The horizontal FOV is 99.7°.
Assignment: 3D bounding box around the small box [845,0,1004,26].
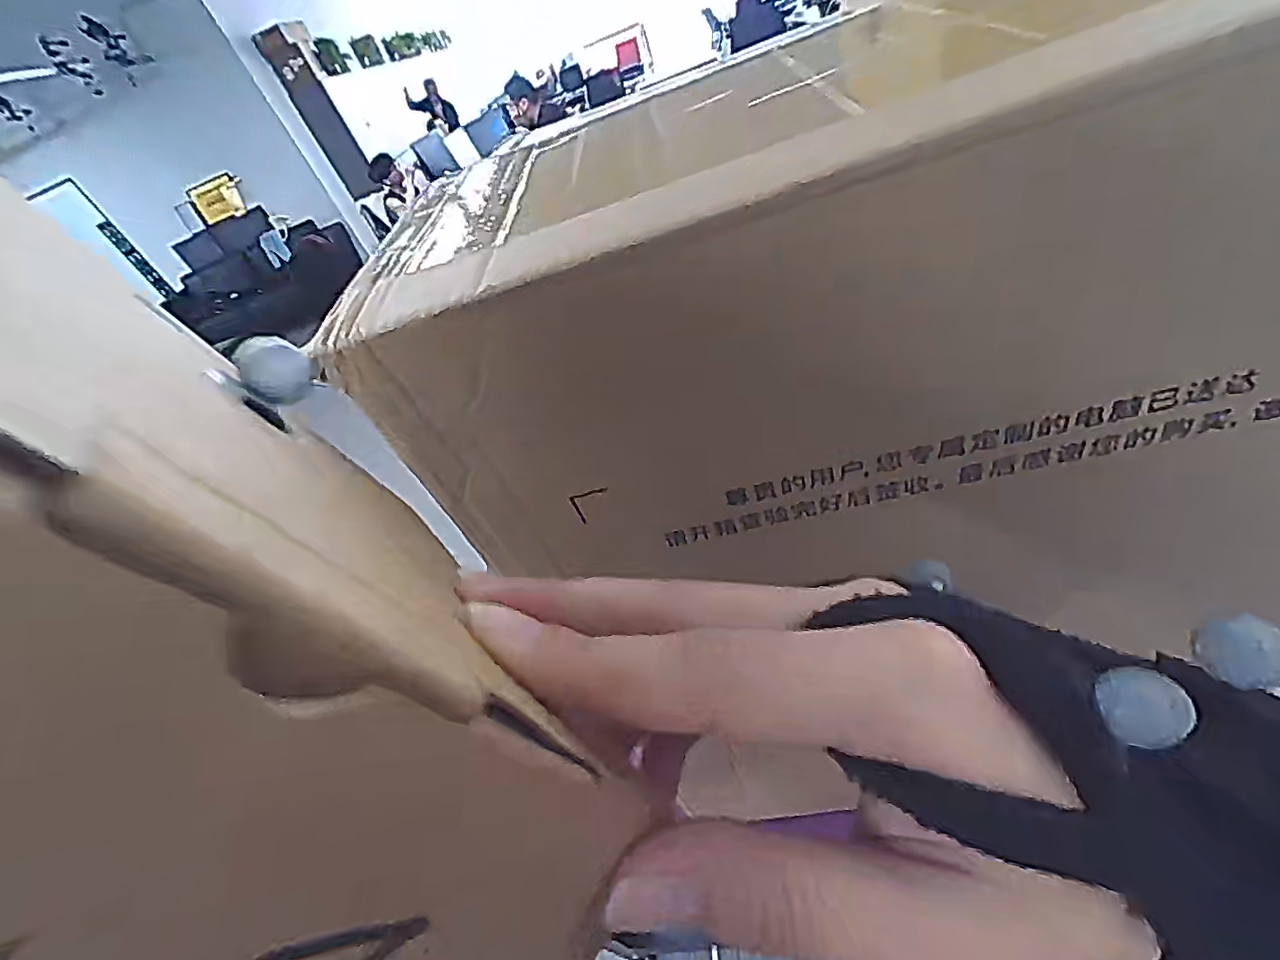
[{"bbox_3d":[0.221,-0.398,0.308,0.179,0.176,0.168,-18,39,10],"label":"small box"}]
